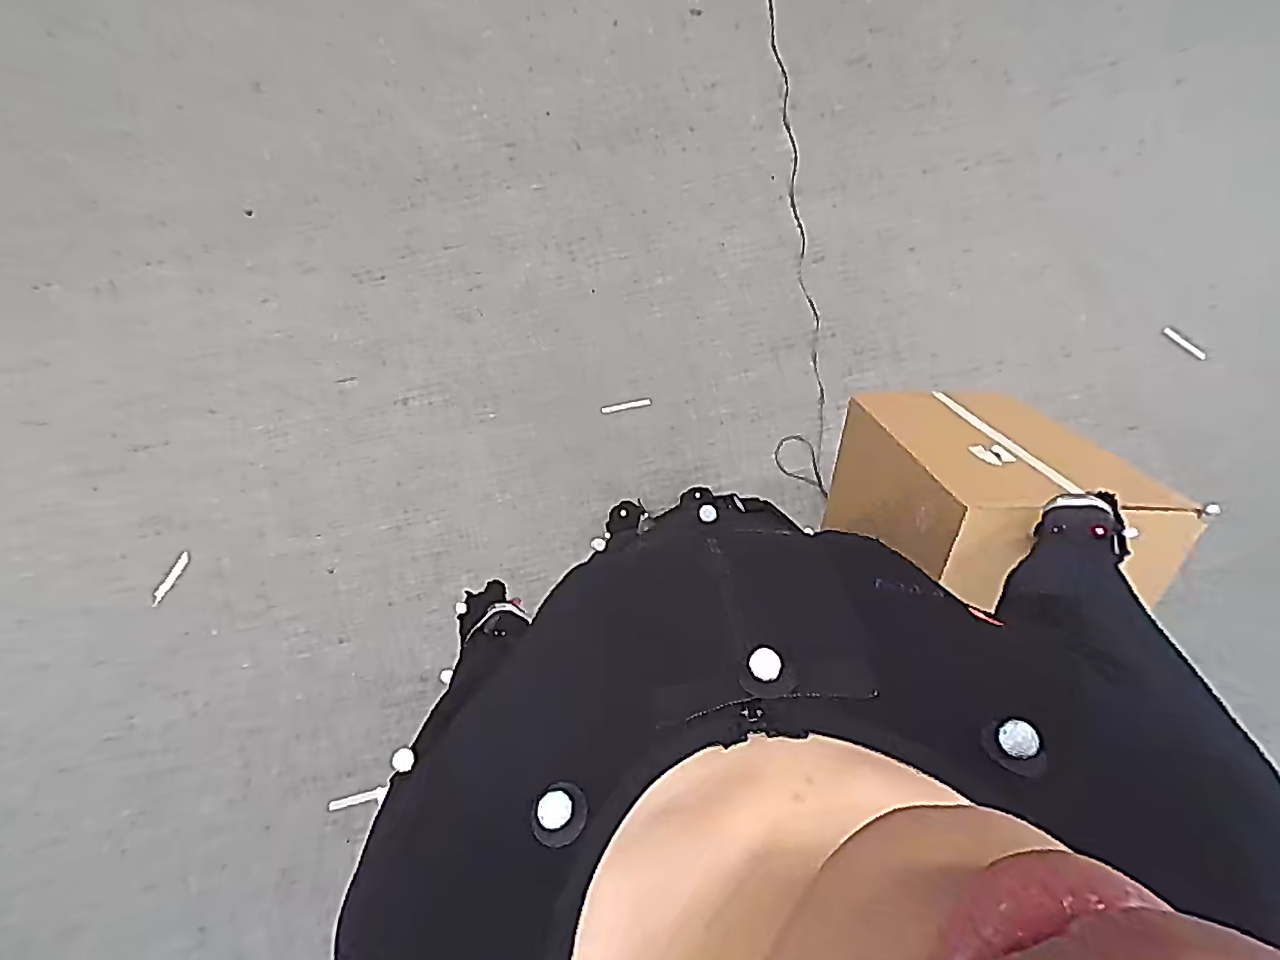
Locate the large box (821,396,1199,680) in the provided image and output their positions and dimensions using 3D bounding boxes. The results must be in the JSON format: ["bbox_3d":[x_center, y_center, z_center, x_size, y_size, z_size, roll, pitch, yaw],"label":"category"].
[{"bbox_3d":[0.551,0.078,0.927,0.320,0.408,0.320,1,121,-2],"label":"large box"}]
